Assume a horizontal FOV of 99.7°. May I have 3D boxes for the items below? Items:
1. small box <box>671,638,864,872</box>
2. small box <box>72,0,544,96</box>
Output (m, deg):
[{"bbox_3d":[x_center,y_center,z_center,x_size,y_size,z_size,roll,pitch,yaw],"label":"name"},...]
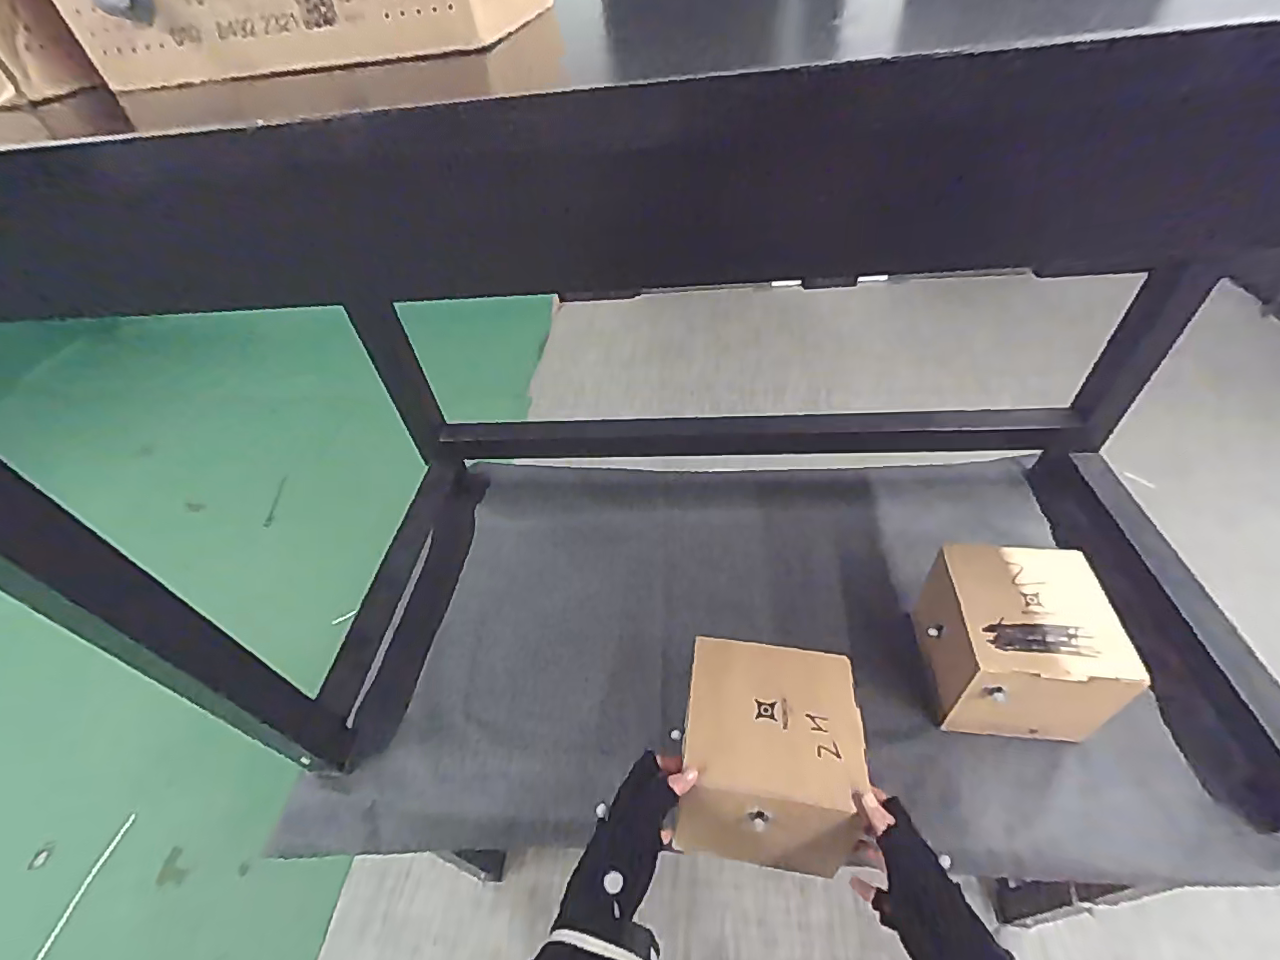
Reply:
[{"bbox_3d":[0.131,0.305,0.605,0.179,0.176,0.168,7,38,8],"label":"small box"},{"bbox_3d":[-0.147,-0.279,0.228,0.168,0.176,0.179,-2,45,6],"label":"small box"}]
